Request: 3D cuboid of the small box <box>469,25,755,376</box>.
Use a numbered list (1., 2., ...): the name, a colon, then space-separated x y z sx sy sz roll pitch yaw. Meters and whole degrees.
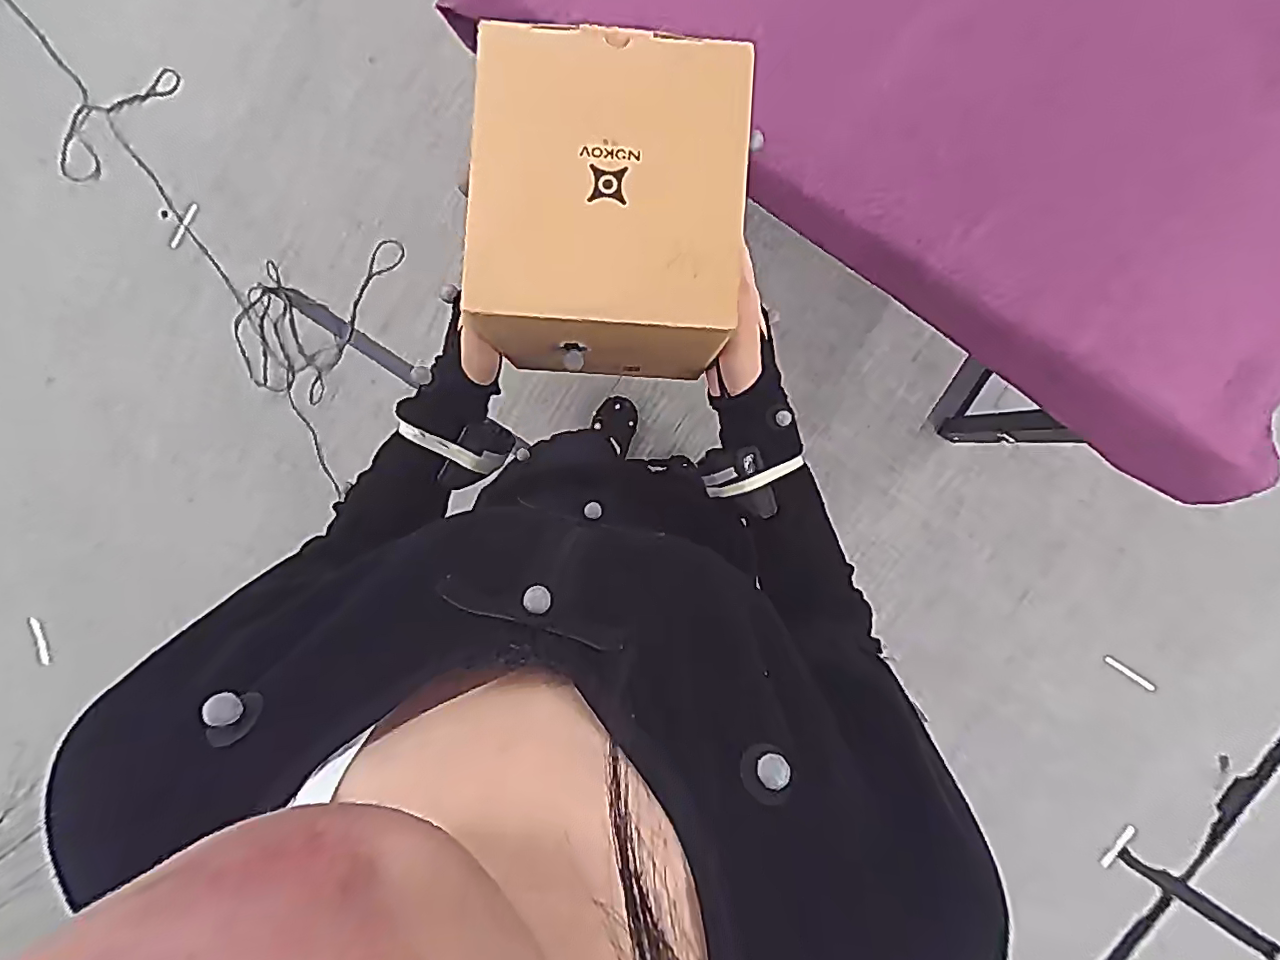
1. small box: -0.018 -0.181 0.406 0.168 0.176 0.179 3 89 -2
